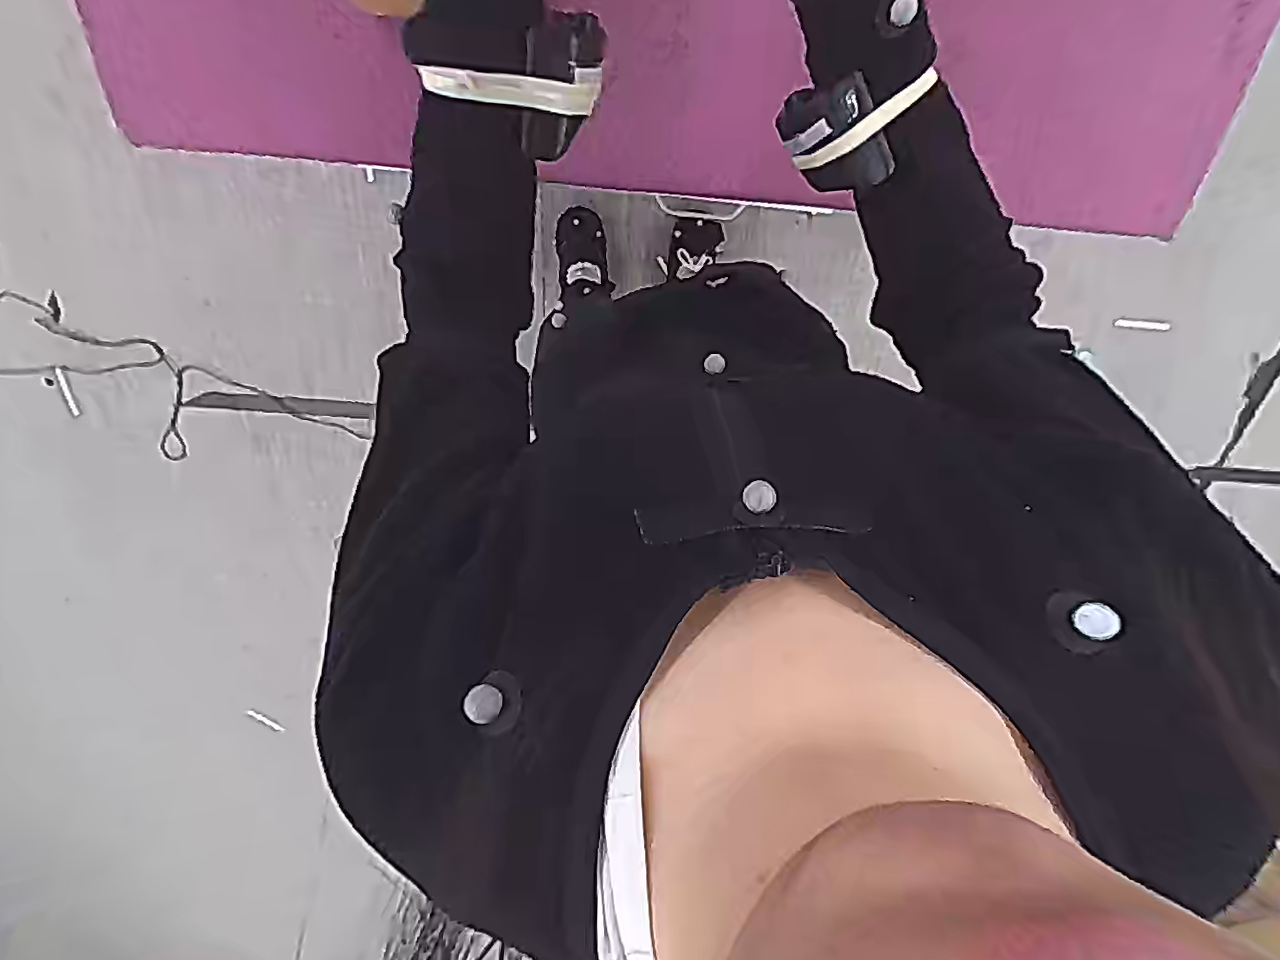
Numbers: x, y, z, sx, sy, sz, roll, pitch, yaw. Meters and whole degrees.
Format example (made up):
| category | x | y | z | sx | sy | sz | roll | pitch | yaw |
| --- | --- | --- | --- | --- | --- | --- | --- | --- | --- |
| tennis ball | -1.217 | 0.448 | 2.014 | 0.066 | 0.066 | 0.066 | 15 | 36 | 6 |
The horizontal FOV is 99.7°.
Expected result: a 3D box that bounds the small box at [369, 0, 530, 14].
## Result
| category | x | y | z | sx | sy | sz | roll | pitch | yaw |
| --- | --- | --- | --- | --- | --- | --- | --- | --- | --- |
| small box | -0.177 | -0.502 | 0.431 | 0.179 | 0.176 | 0.168 | 1 | 118 | -2 |
